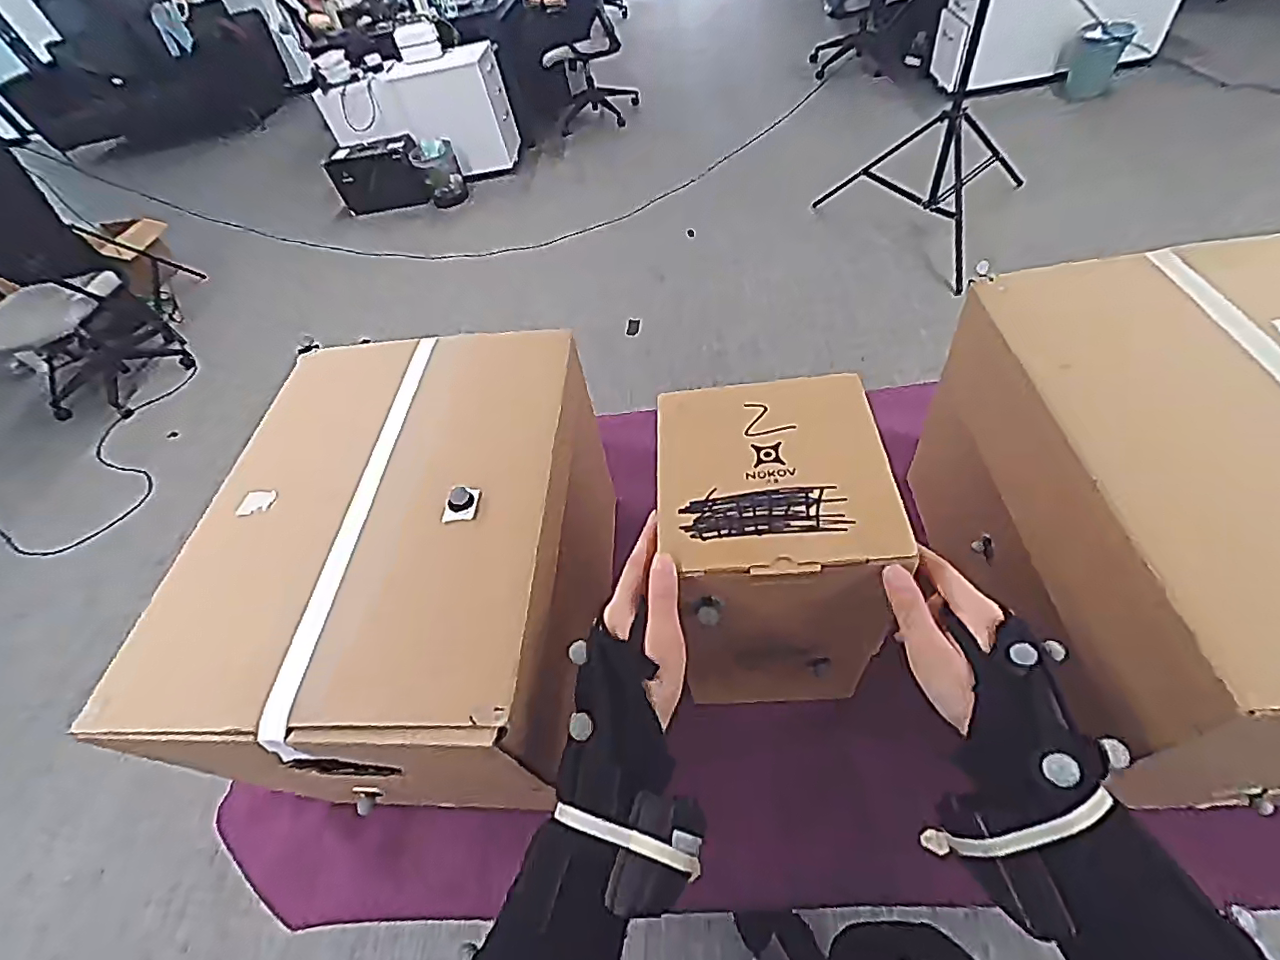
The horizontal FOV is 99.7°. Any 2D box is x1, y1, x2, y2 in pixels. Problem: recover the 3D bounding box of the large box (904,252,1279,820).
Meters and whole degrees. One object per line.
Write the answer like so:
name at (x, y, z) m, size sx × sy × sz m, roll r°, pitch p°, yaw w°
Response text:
large box at (0.483, 0.054, 0.495) m, size 0.320 × 0.320 × 0.408 m, roll -5°, pitch 50°, yaw 8°
